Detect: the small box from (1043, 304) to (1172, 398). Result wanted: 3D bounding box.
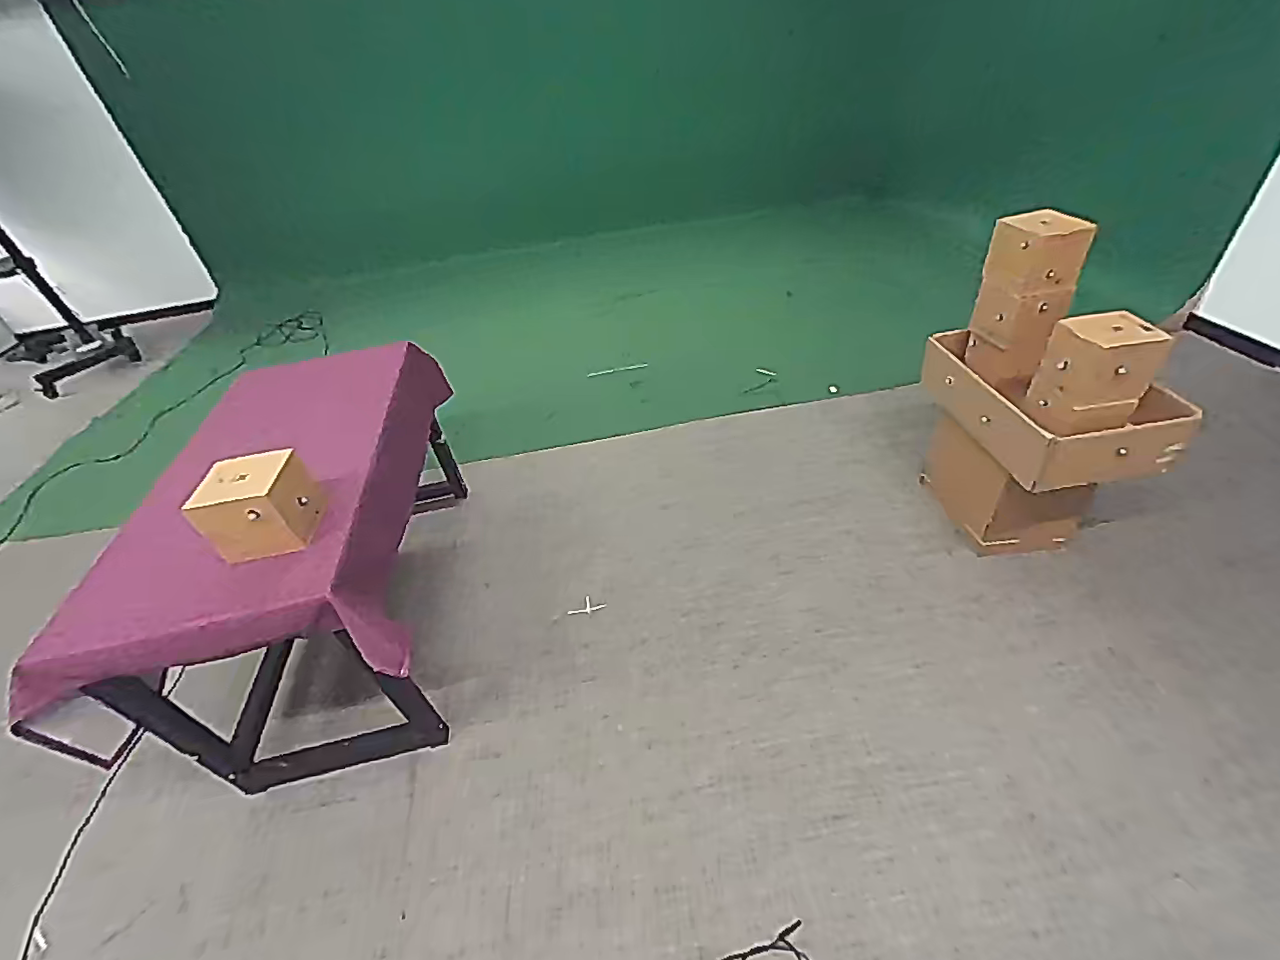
[{"bbox_3d":[1.181,-0.328,1.390,0.179,0.176,0.168,-9,41,2],"label":"small box"}]

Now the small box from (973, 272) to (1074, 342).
[{"bbox_3d":[1.146,-0.536,1.638,0.179,0.176,0.168,-12,41,-3],"label":"small box"}]

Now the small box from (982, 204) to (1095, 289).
[{"bbox_3d":[1.123,-0.666,1.543,0.168,0.176,0.179,-13,42,-4],"label":"small box"}]

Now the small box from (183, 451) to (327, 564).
[{"bbox_3d":[-0.840,0.063,1.204,0.179,0.176,0.168,-11,40,-1],"label":"small box"}]
